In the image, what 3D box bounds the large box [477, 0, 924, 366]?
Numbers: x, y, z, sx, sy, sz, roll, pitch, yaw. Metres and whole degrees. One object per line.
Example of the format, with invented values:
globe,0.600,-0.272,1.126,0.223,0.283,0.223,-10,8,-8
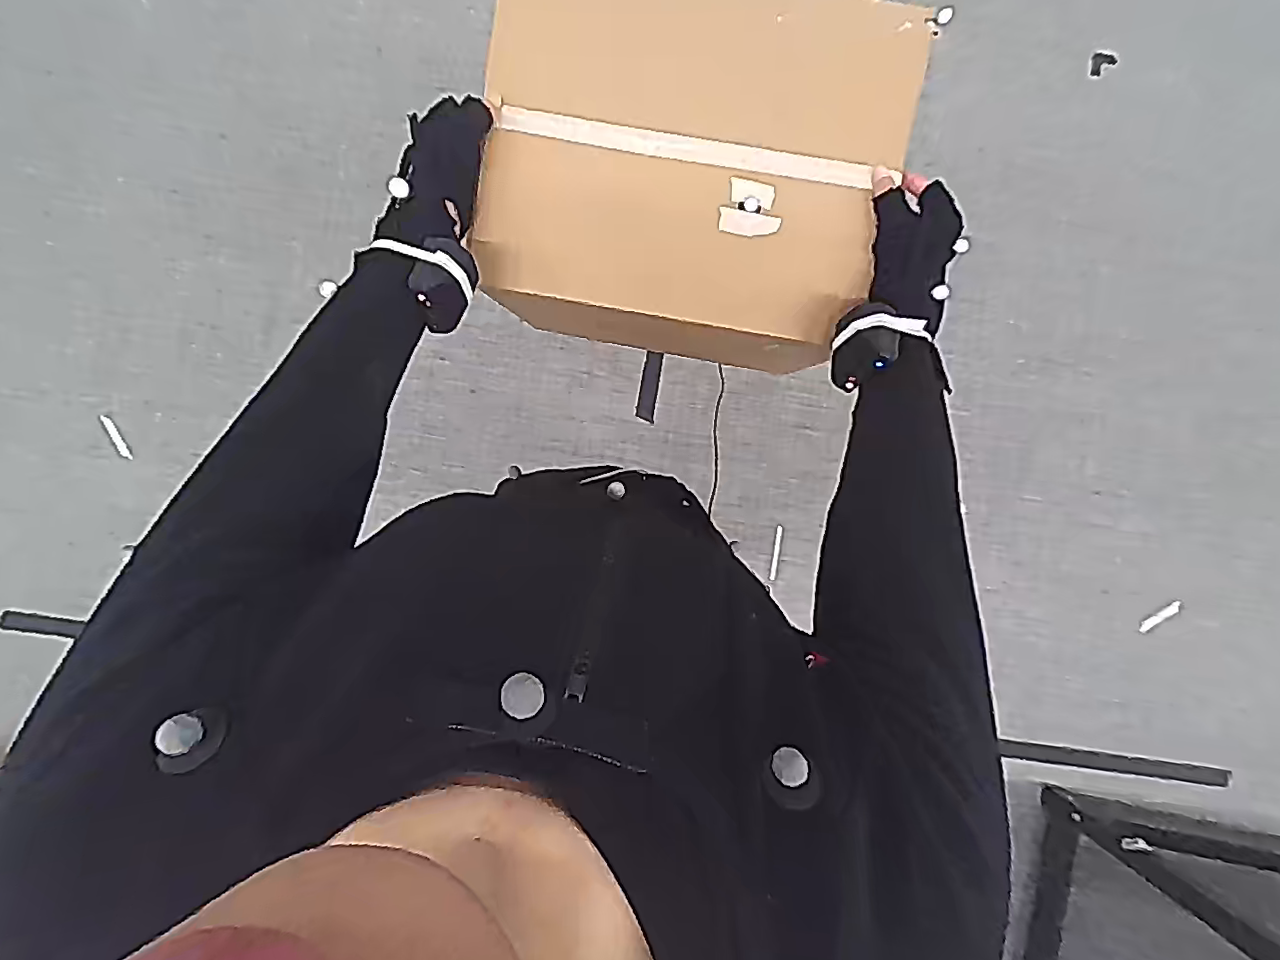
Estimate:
large box,0.053,-0.339,0.677,0.408,0.320,0.320,10,98,0
